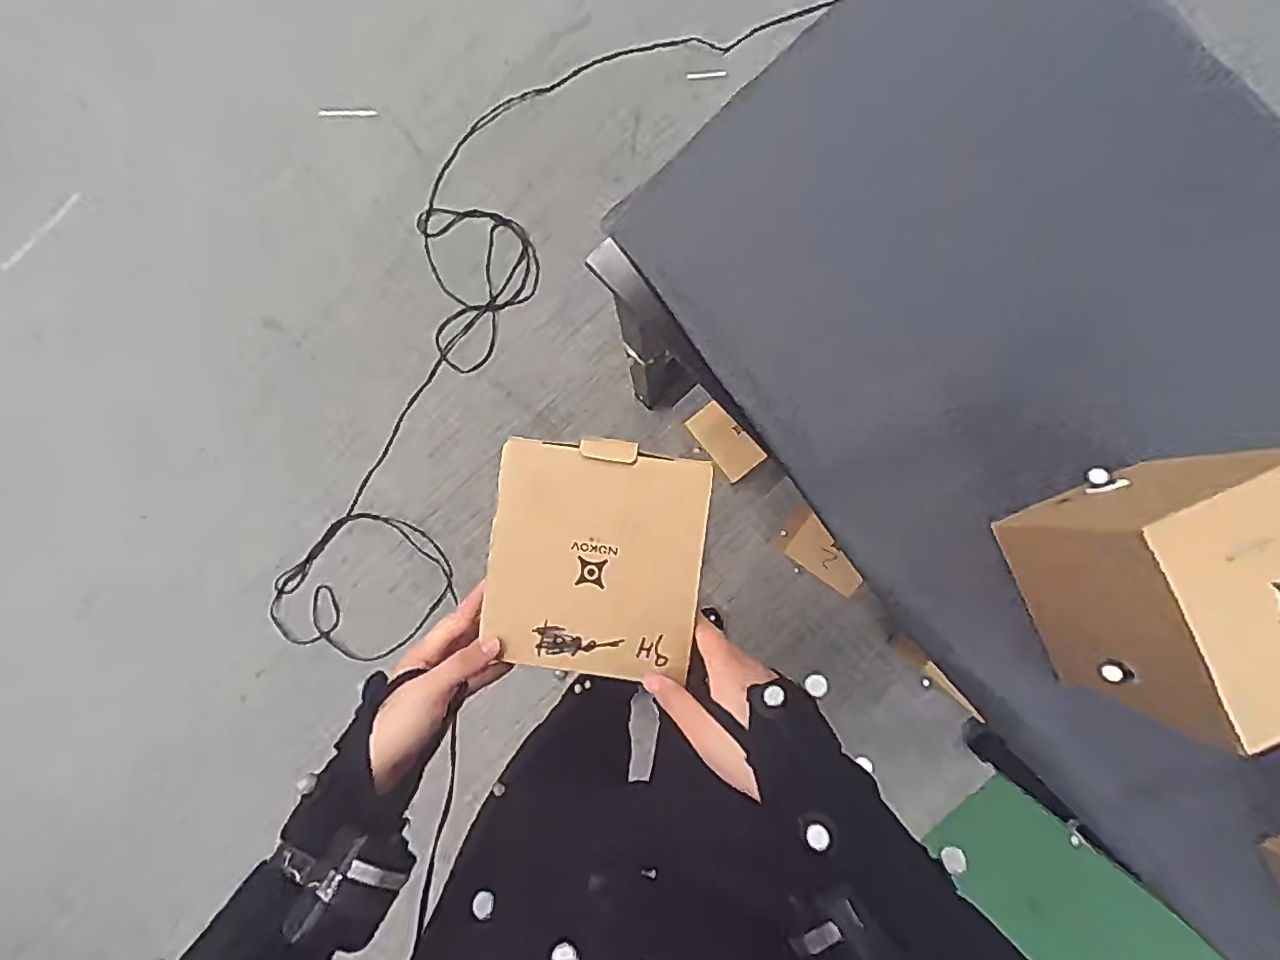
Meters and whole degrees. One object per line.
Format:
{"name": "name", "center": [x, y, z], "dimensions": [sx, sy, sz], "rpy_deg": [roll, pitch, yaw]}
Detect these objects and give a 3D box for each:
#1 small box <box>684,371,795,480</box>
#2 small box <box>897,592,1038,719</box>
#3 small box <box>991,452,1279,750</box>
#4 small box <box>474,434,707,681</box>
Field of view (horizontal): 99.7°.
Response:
{"name": "small box", "center": [0.213, -0.111, 1.209], "dimensions": [0.179, 0.176, 0.168], "rpy_deg": [-39, 87, 0]}
{"name": "small box", "center": [0.692, 0.371, 1.174], "dimensions": [0.168, 0.176, 0.179], "rpy_deg": [42, 90, 2]}
{"name": "small box", "center": [0.456, 0.086, 0.464], "dimensions": [0.168, 0.176, 0.179], "rpy_deg": [-23, 86, -2]}
{"name": "small box", "center": [-0.036, 0.060, 0.501], "dimensions": [0.168, 0.176, 0.179], "rpy_deg": [7, 90, 3]}
